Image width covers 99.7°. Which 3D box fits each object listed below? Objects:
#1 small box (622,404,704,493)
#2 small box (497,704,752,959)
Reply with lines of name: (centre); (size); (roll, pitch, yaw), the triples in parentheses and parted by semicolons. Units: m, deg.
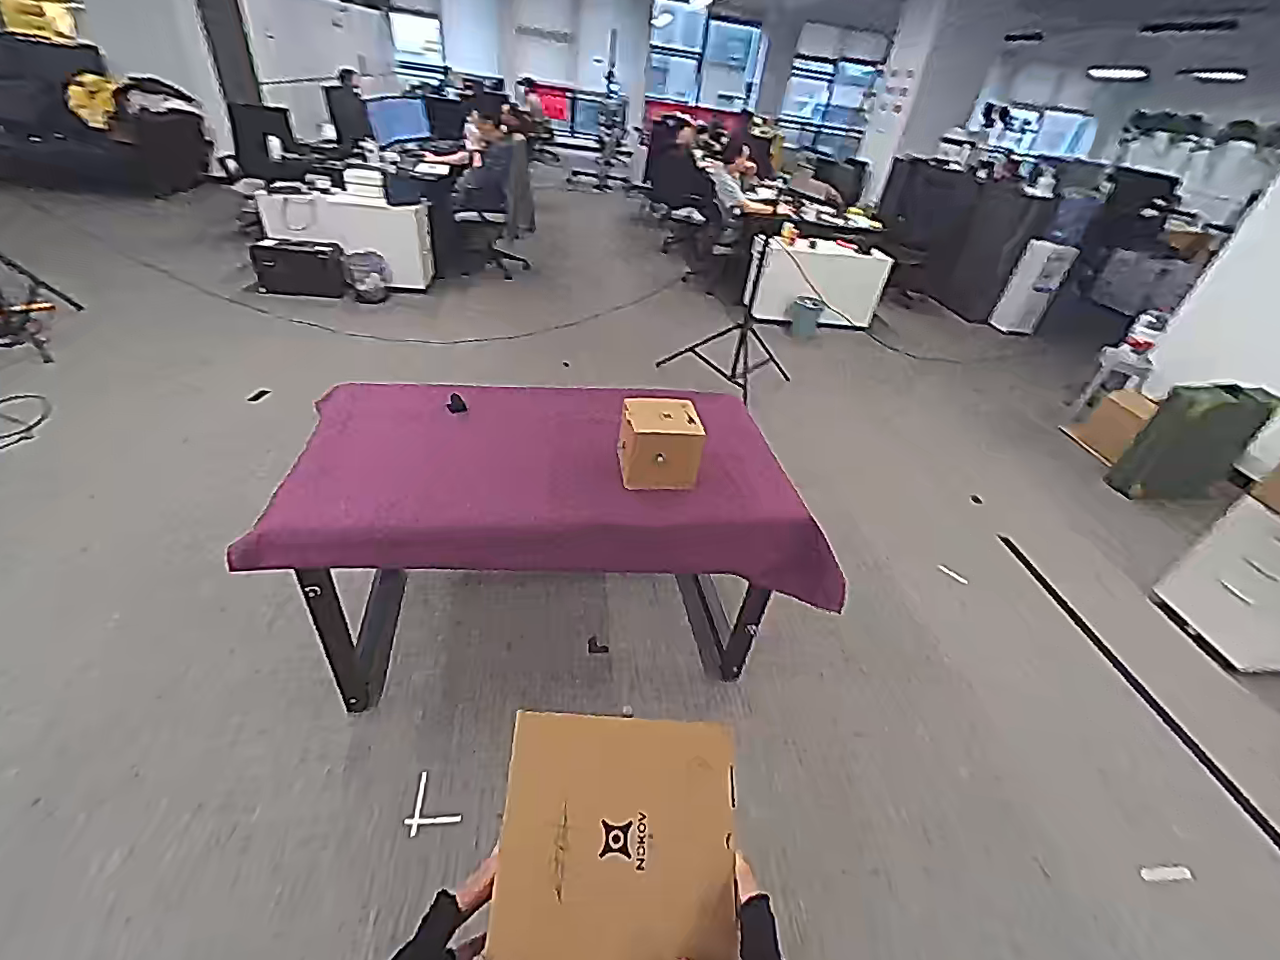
small box: (0.050, -0.079, 1.363); (0.179, 0.176, 0.168); (-1, 37, -10)
small box: (-0.019, 0.296, 0.468); (0.179, 0.176, 0.168); (4, 59, -7)
